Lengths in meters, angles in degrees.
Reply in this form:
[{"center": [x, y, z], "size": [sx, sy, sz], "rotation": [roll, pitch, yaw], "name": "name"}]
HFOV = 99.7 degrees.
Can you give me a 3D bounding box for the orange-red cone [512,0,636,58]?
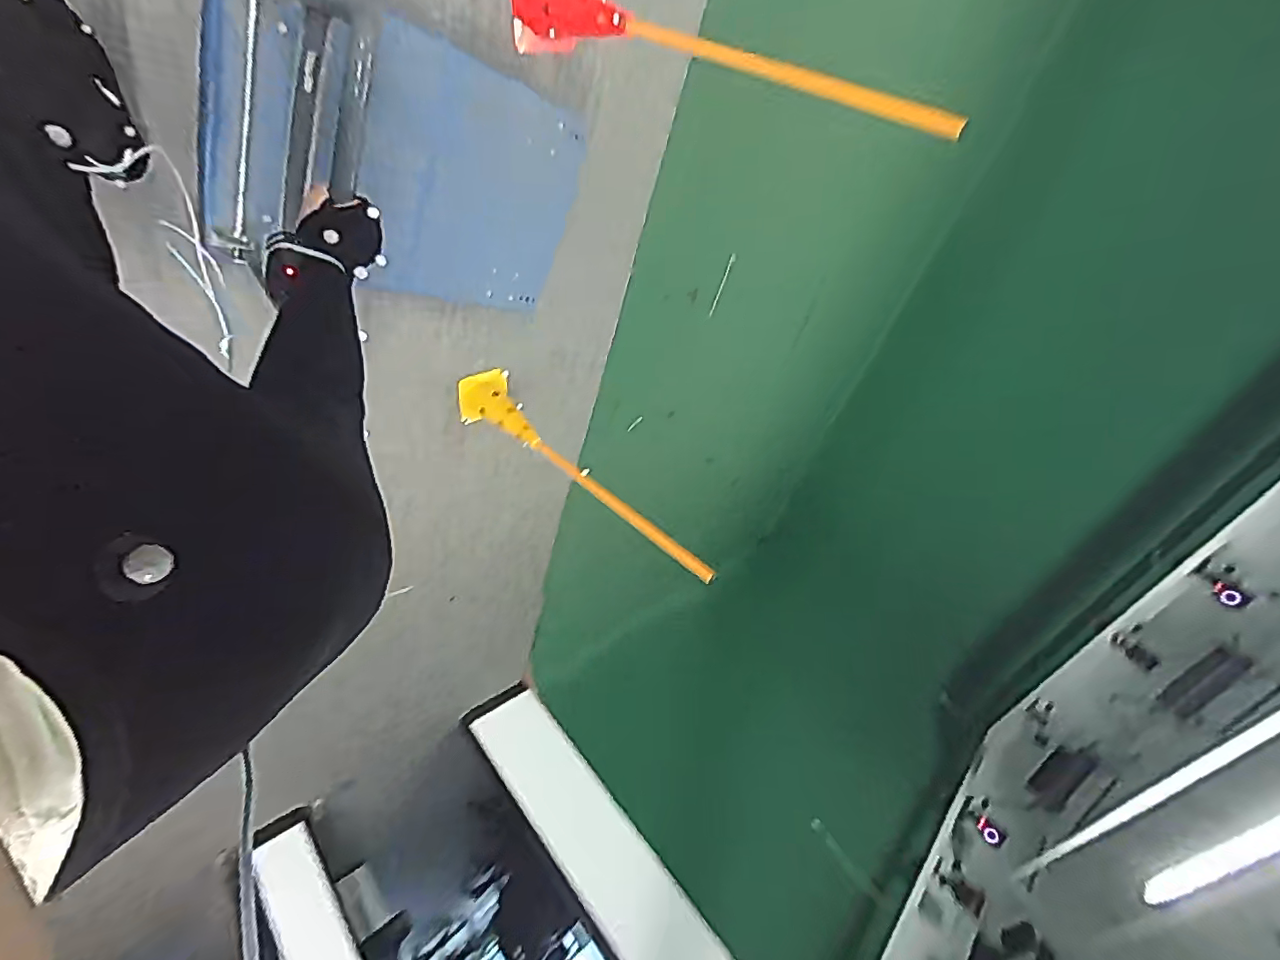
[{"center": [-0.141, -1.158, 1.355], "size": [0.198, 0.360, 0.199], "rotation": [-29, 144, -32], "name": "orange-red cone"}]
